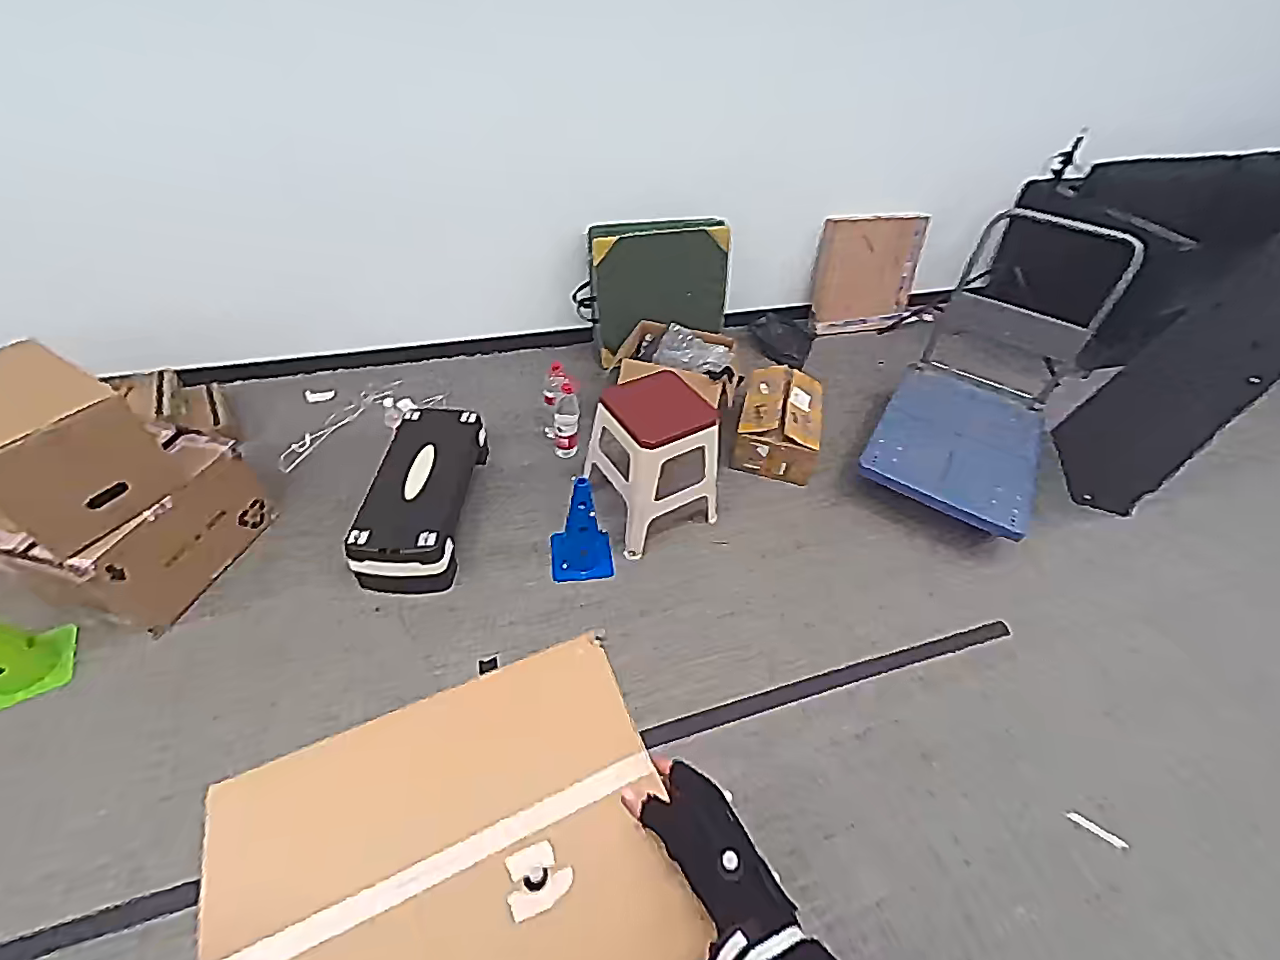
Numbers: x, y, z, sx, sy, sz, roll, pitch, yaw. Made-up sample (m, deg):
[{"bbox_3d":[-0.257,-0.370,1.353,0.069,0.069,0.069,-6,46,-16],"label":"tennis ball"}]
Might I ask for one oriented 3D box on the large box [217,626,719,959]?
[{"bbox_3d":[-0.177,0.437,0.615,0.408,0.320,0.320,-18,54,-18],"label":"large box"}]
